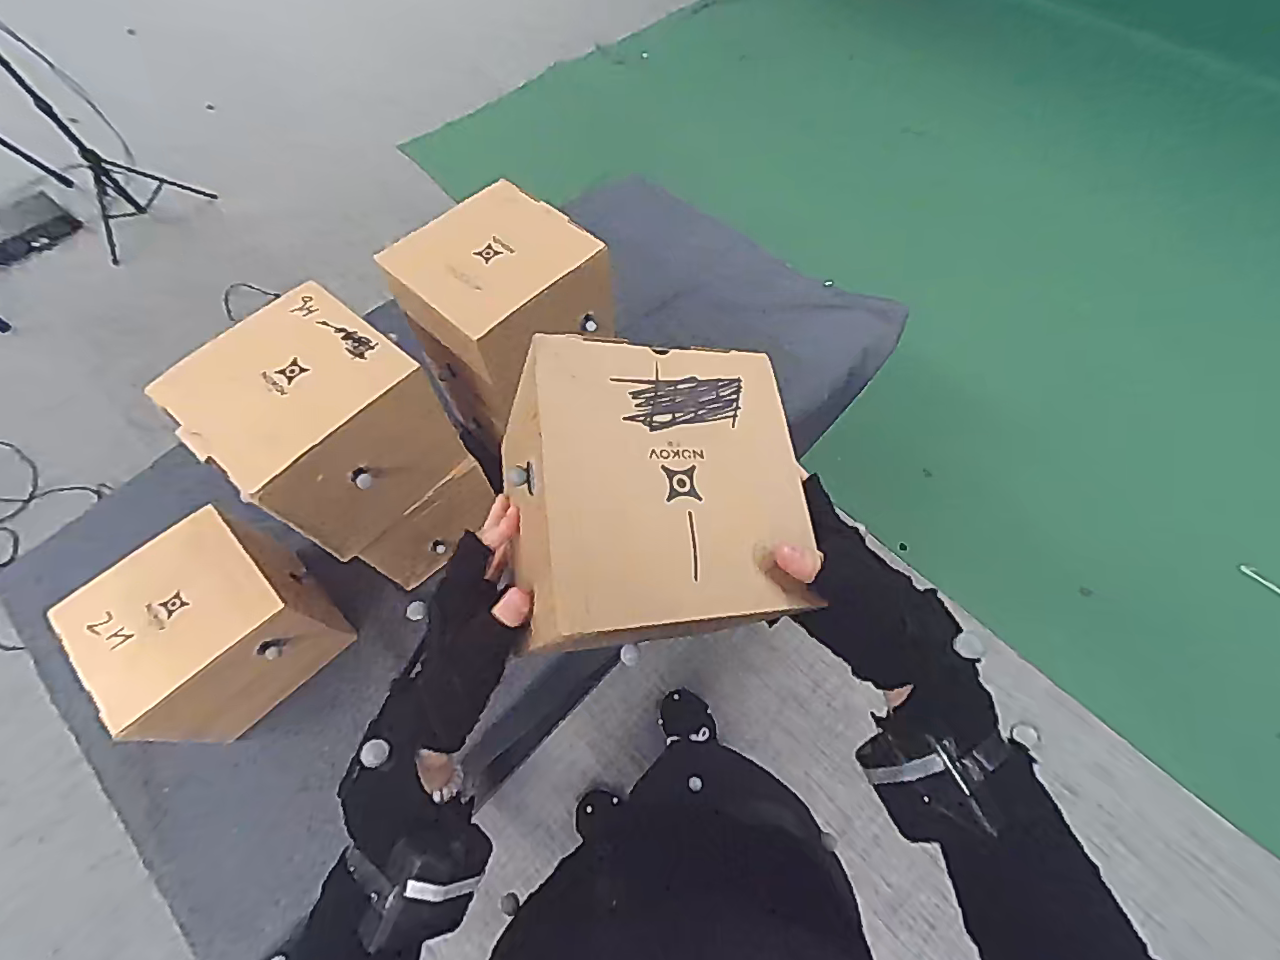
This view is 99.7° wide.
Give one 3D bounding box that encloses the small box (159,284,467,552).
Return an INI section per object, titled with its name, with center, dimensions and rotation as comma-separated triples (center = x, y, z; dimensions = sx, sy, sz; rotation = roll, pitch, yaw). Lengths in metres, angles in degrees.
[small box]
center = -0.310, -0.053, 0.555
dimensions = 0.168, 0.176, 0.179
rotation = 37, 70, 16
